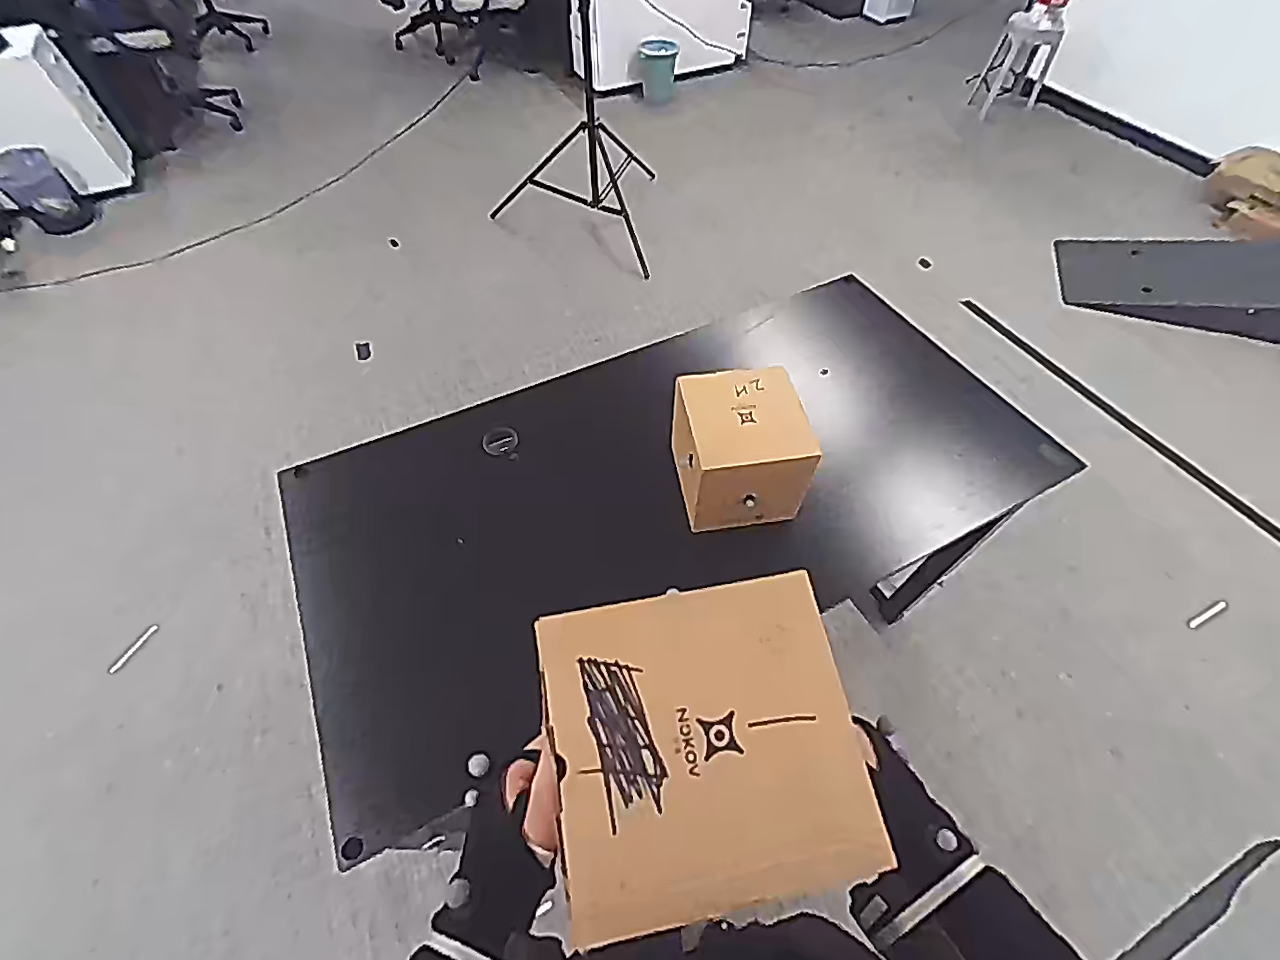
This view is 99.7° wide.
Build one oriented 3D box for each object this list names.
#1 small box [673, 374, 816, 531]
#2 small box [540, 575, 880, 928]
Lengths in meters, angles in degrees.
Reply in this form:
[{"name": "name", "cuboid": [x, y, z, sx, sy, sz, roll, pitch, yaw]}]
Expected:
[{"name": "small box", "cuboid": [0.147, -0.035, 0.831, 0.168, 0.176, 0.179, -7, 54, -5]}, {"name": "small box", "cuboid": [0.033, 0.180, 0.392, 0.179, 0.176, 0.168, -9, 68, -6]}]
